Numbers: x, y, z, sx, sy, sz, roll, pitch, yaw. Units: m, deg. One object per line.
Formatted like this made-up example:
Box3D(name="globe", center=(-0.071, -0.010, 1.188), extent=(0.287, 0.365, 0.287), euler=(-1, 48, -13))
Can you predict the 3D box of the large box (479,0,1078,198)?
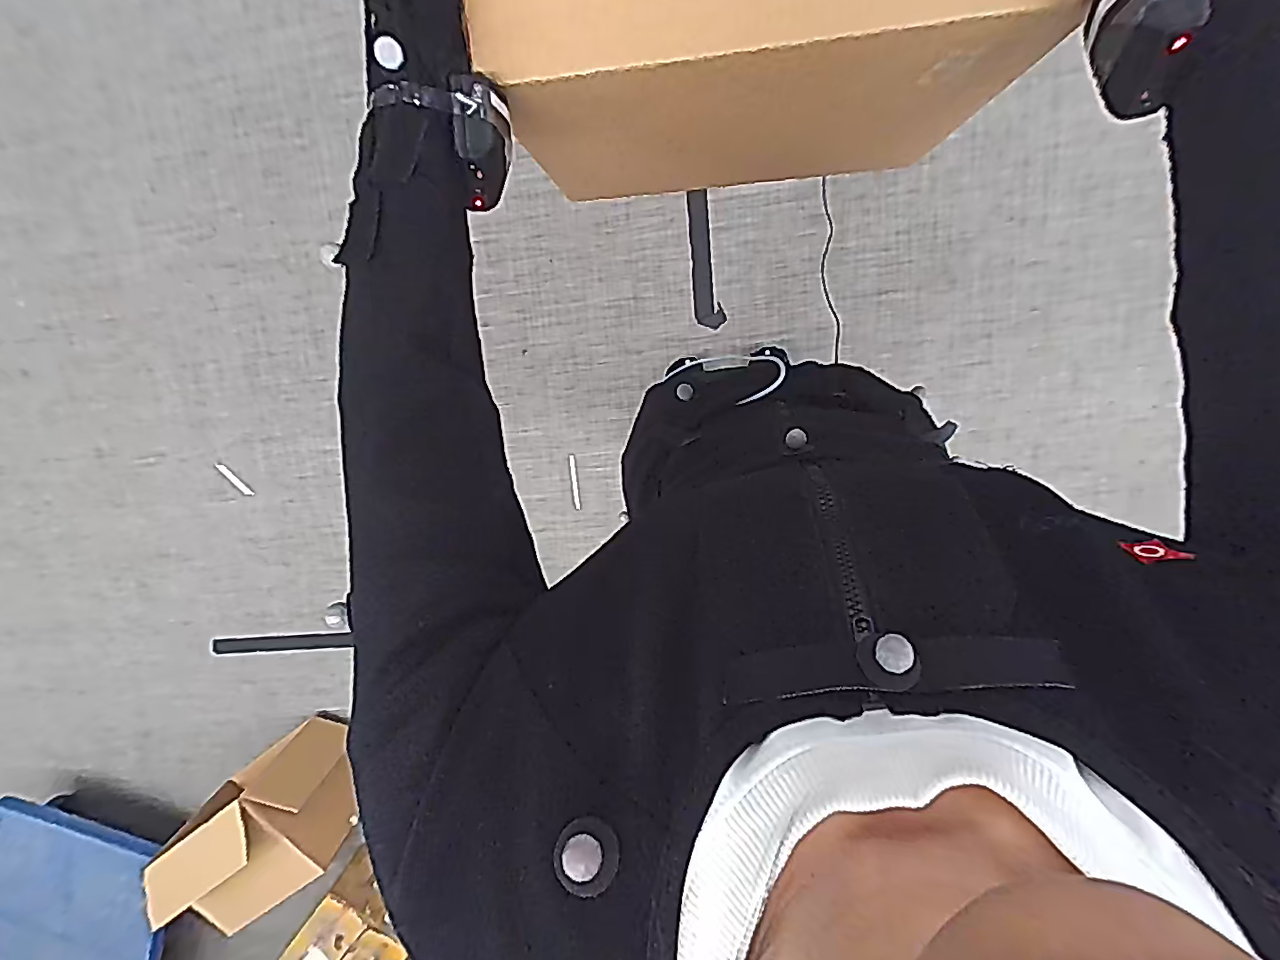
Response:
Box3D(name="large box", center=(0.087, -0.471, 0.465), extent=(0.408, 0.320, 0.320), euler=(-4, 104, 5))
